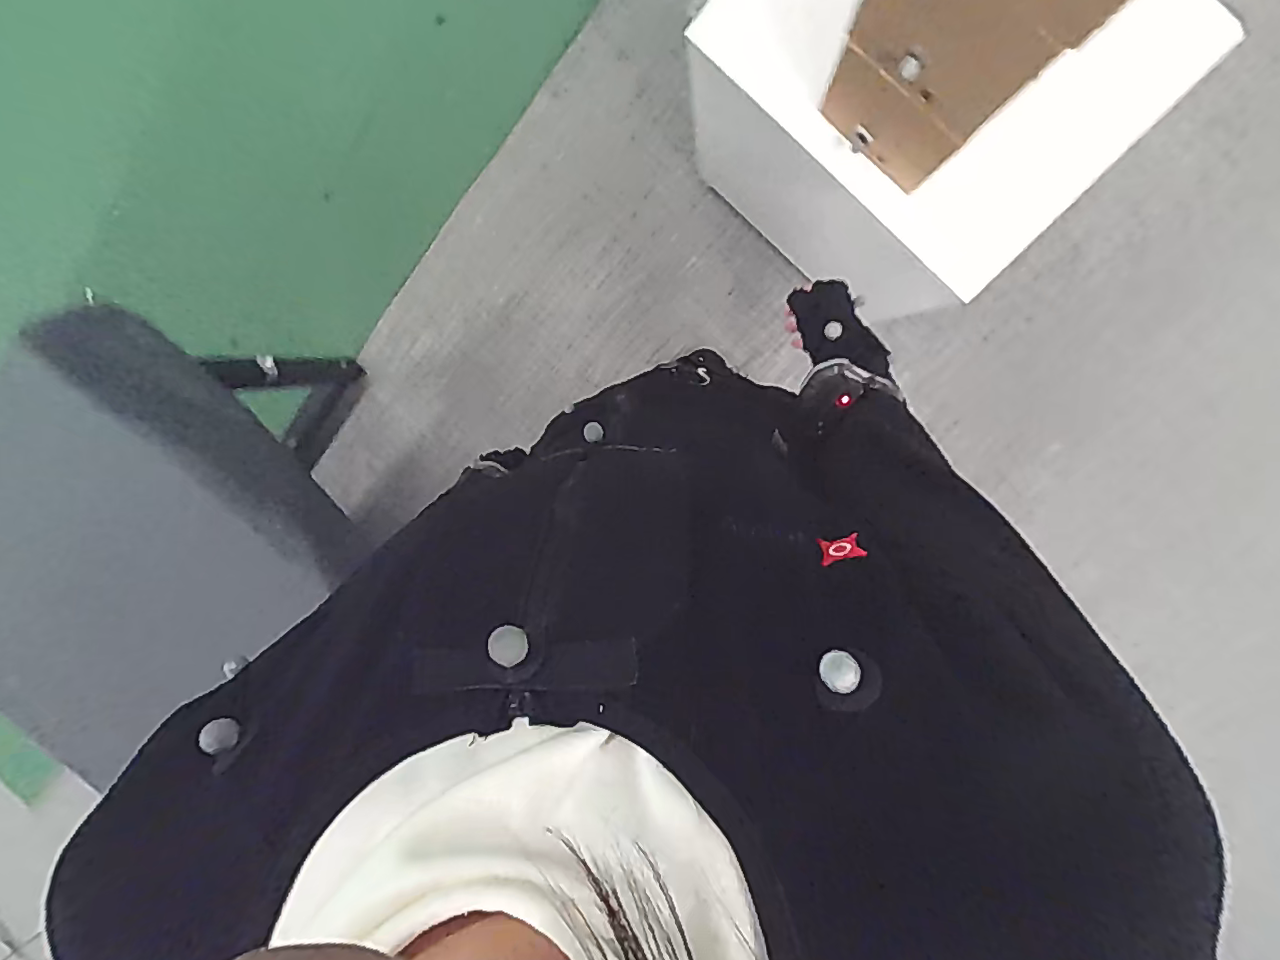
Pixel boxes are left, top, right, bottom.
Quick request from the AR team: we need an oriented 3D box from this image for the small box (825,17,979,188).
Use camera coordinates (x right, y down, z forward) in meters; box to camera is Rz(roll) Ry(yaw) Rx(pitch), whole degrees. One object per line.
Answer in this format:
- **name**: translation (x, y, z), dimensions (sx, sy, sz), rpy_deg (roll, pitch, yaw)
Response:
- **small box**: translation (0.327, -0.463, 0.588), dimensions (0.168, 0.176, 0.179), rpy_deg (41, 106, 0)

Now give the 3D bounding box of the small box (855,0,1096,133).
- **small box**: translation (0.303, -0.432, 0.429), dimensions (0.168, 0.176, 0.179), rpy_deg (39, 103, 0)
